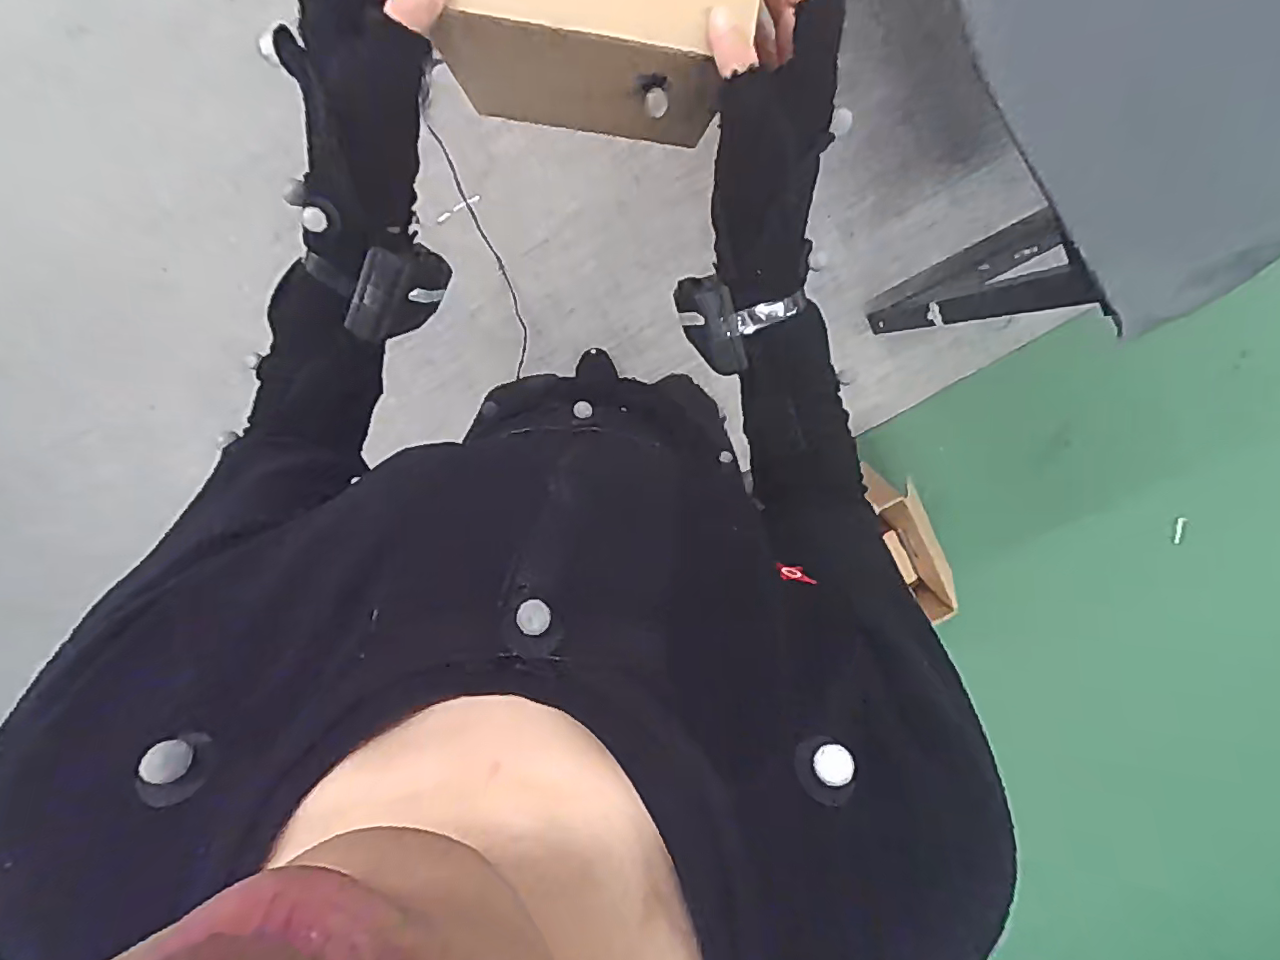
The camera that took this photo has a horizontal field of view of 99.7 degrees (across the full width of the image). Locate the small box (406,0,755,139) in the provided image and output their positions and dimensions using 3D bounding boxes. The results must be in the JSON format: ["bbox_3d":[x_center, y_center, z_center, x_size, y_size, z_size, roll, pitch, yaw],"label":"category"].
[{"bbox_3d":[-0.026,-0.328,0.326,0.179,0.176,0.168,6,108,-6],"label":"small box"}]
